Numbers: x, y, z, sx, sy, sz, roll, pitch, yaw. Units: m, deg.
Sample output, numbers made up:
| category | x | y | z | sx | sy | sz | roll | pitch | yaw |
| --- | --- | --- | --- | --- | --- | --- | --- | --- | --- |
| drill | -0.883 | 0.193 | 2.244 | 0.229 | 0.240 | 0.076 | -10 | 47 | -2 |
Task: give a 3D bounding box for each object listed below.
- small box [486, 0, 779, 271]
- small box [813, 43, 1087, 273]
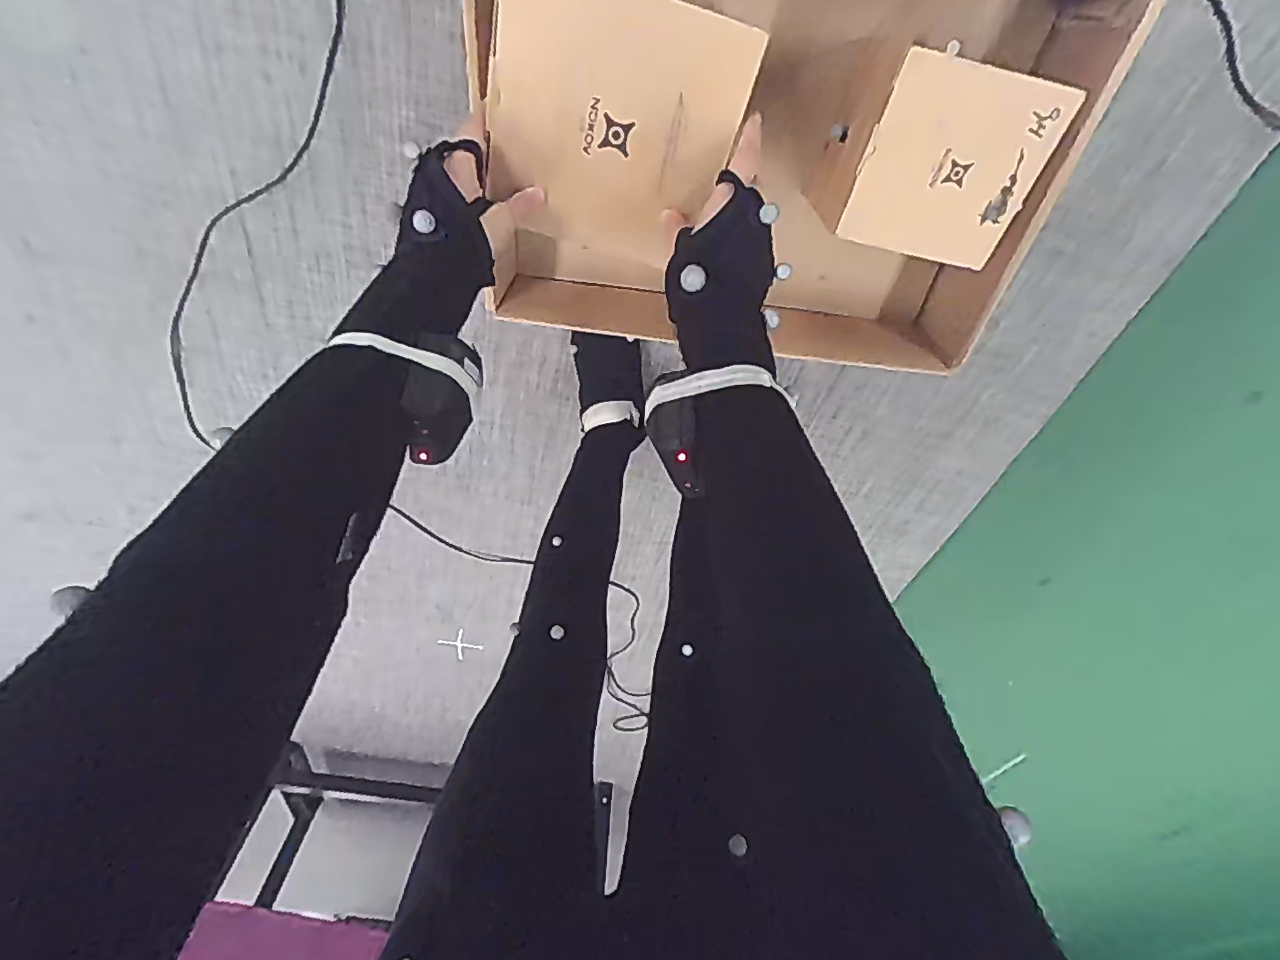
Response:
| category | x | y | z | sx | sy | sz | roll | pitch | yaw |
| --- | --- | --- | --- | --- | --- | --- | --- | --- | --- |
| small box | -0.013 | -0.304 | 0.447 | 0.179 | 0.176 | 0.168 | 13 | 131 | -10 |
| small box | 0.312 | -0.355 | 0.596 | 0.179 | 0.176 | 0.168 | 12 | 130 | -6 |
